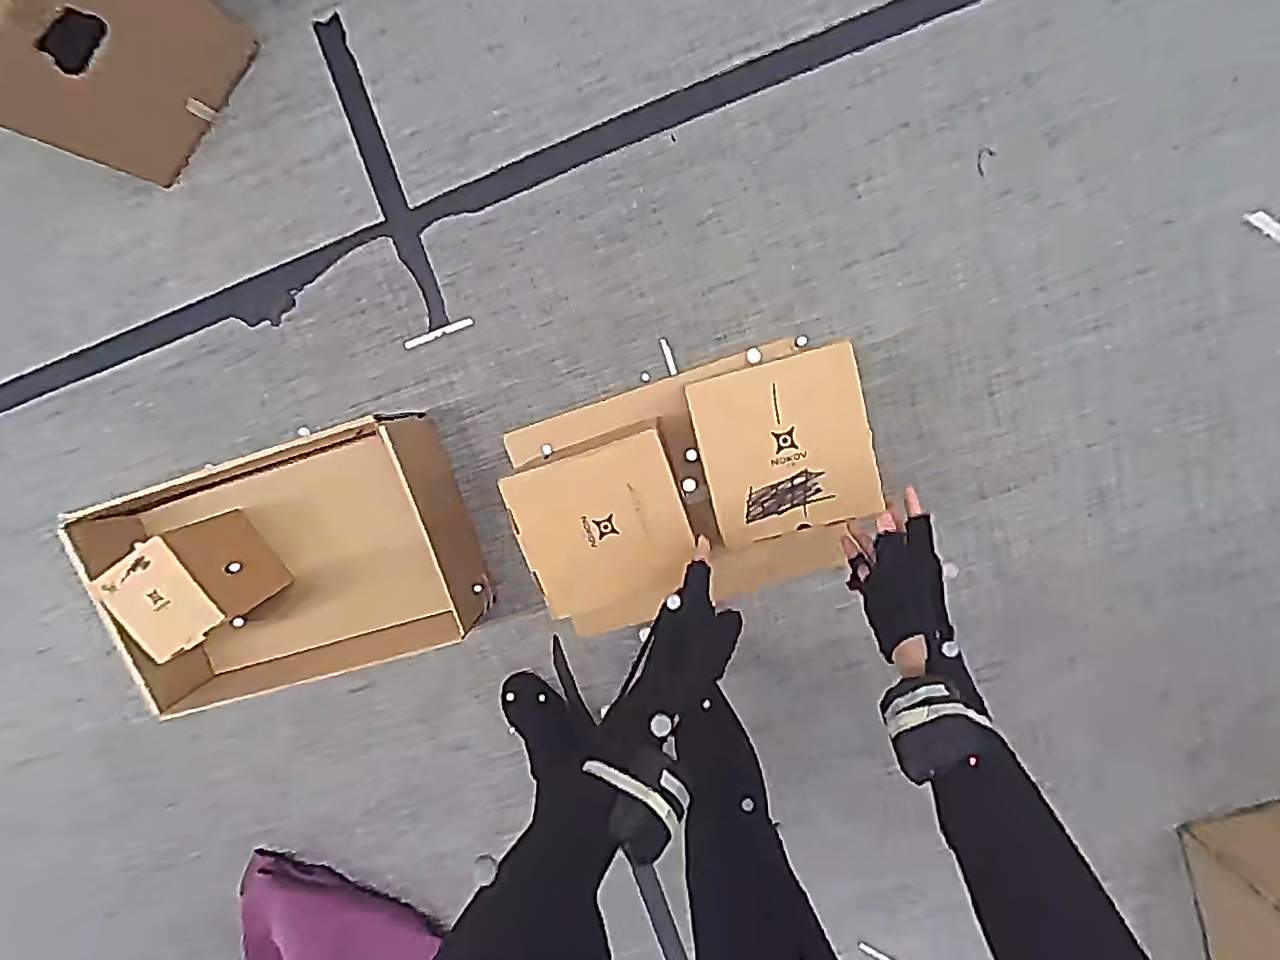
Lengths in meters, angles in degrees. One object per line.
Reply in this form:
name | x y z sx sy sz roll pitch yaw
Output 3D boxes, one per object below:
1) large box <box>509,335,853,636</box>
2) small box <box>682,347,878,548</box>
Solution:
large box | 0.061 -0.005 0.879 0.408 0.320 0.320 -19 100 5
small box | 0.148 -0.042 0.618 0.168 0.176 0.179 -14 98 6
